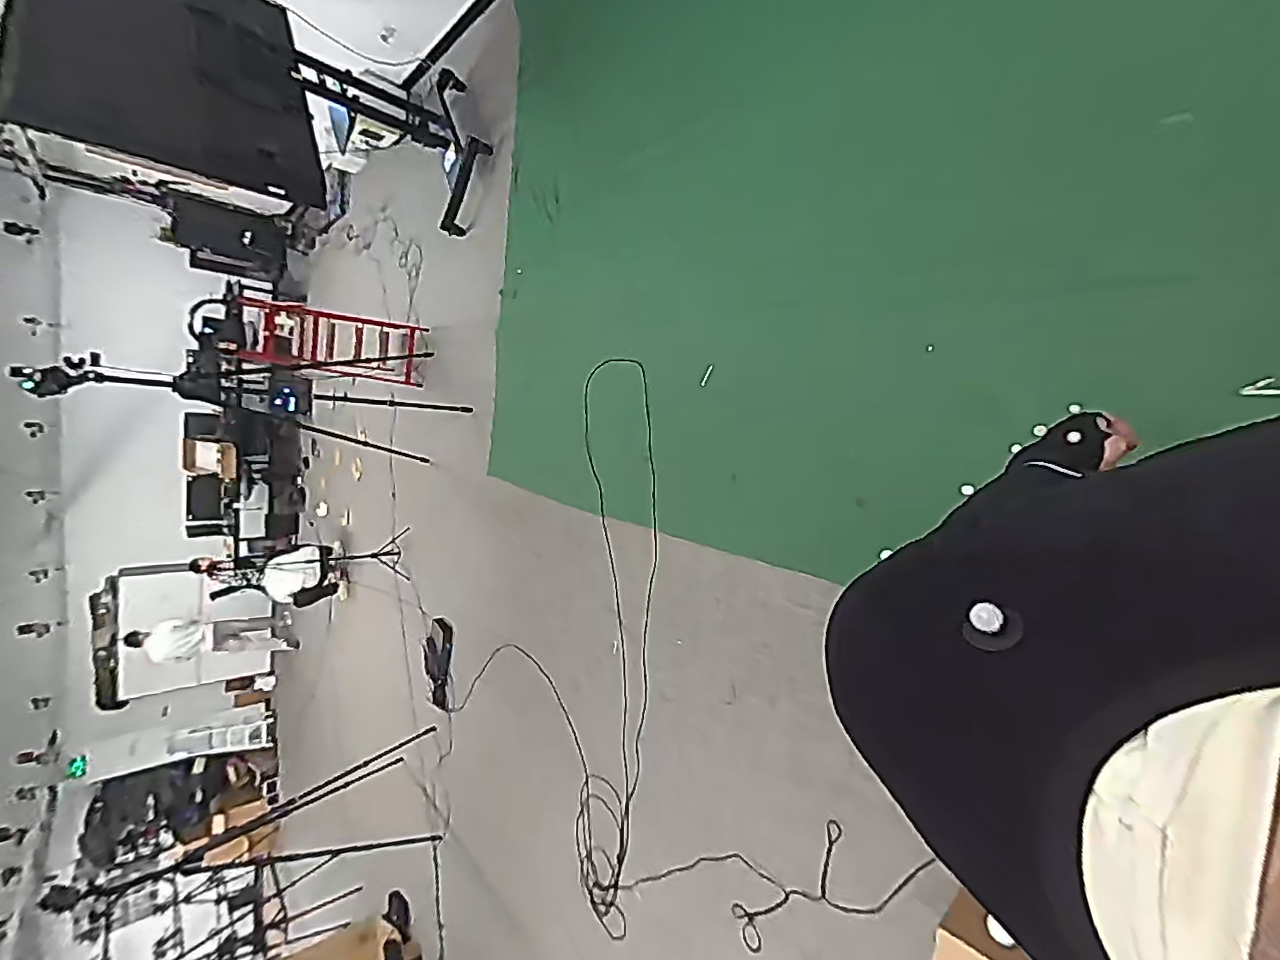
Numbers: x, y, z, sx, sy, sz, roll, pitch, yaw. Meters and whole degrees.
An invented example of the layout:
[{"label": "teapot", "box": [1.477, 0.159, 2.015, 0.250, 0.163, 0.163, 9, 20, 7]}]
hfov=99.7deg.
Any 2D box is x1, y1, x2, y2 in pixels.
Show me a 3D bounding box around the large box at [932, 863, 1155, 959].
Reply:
[{"label": "large box", "box": [0.930, 1.211, 1.248, 0.408, 0.320, 0.320, 10, 98, 46]}]
